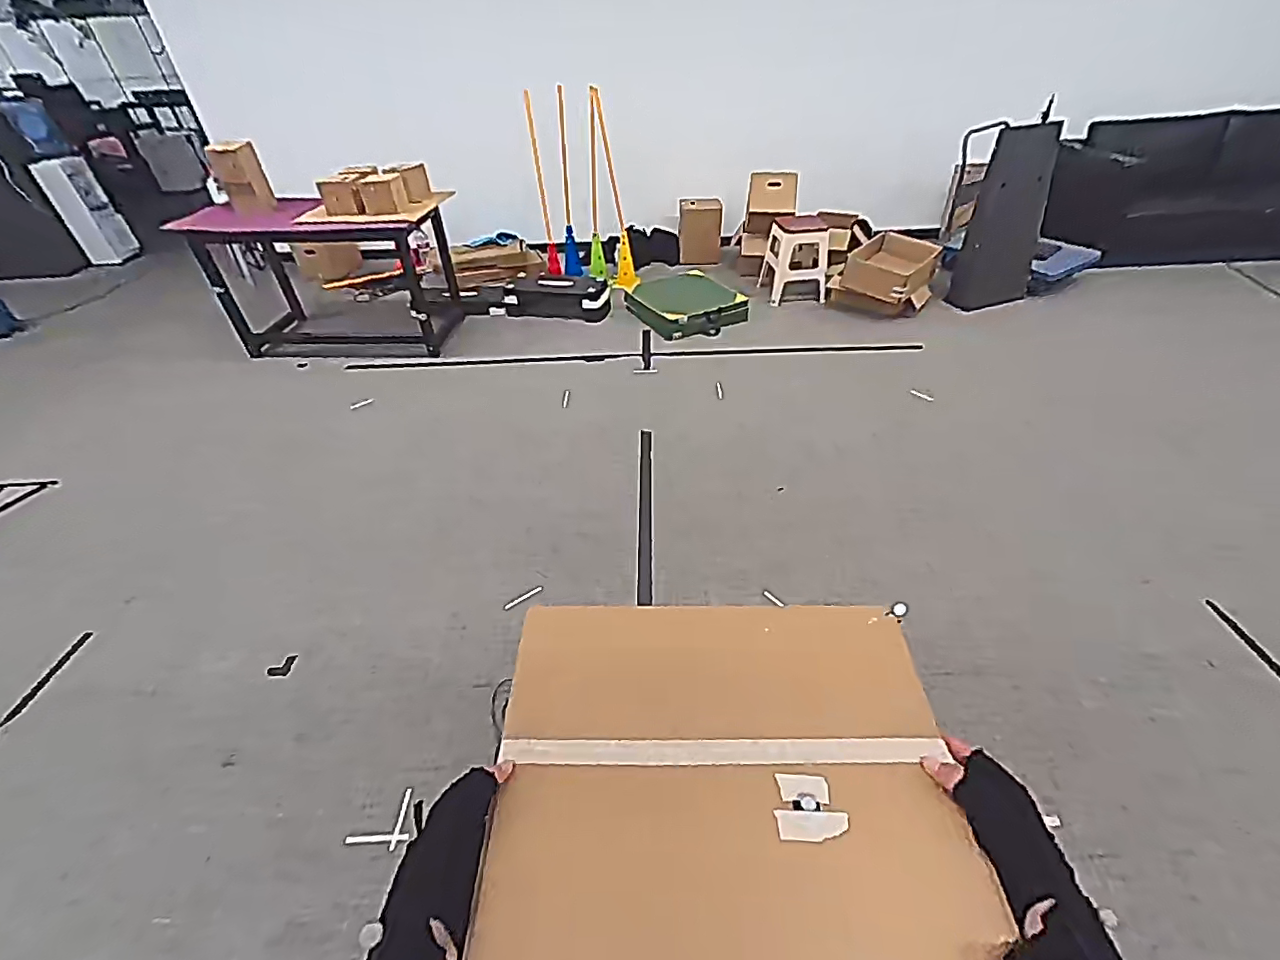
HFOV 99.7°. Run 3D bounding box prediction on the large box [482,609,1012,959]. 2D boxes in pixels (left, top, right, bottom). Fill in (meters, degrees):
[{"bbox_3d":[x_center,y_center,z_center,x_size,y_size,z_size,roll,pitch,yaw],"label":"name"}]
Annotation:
[{"bbox_3d":[0.080,0.362,0.608,0.408,0.320,0.320,0,44,1],"label":"large box"}]
